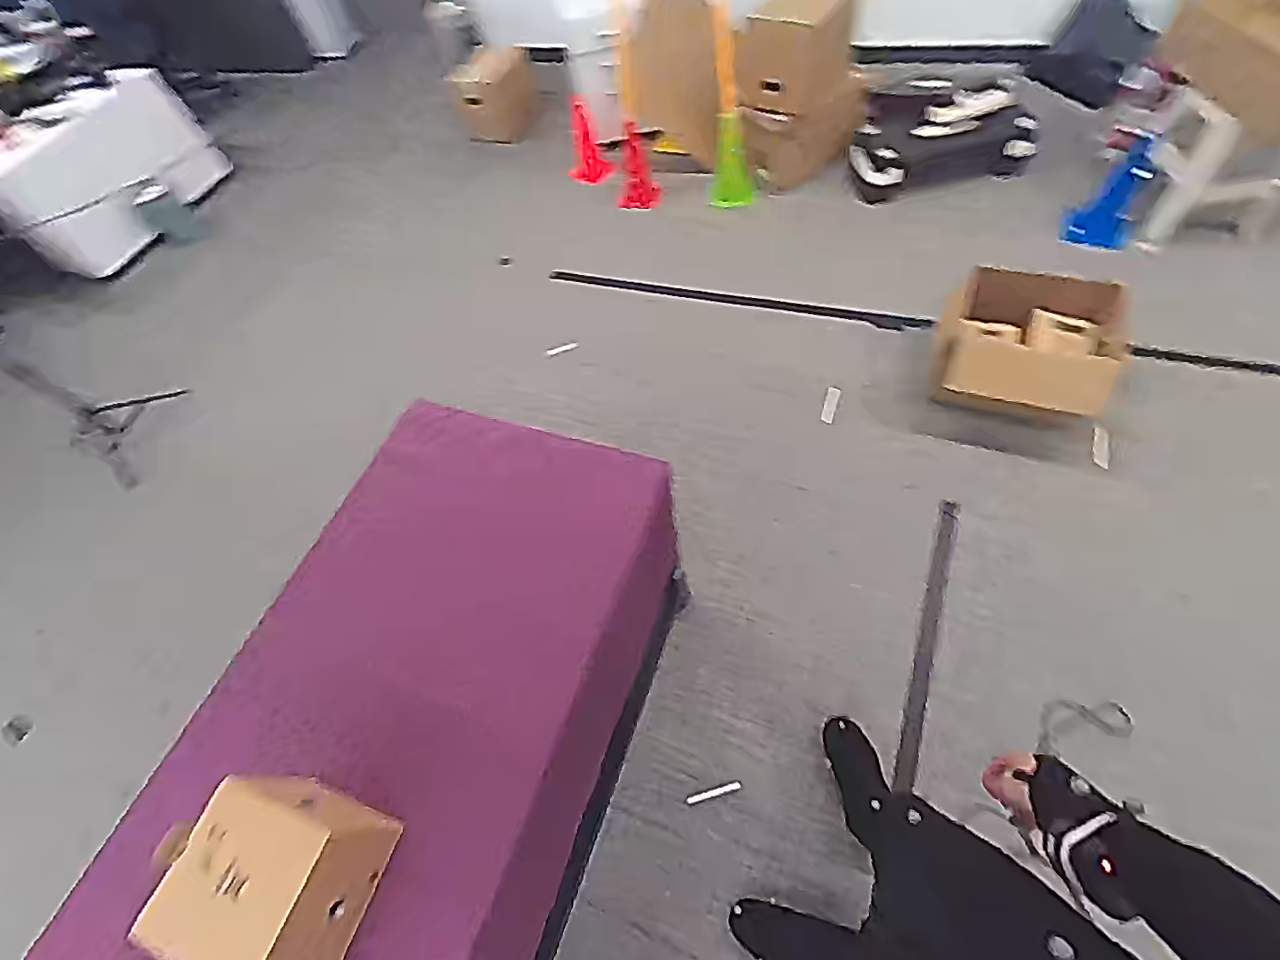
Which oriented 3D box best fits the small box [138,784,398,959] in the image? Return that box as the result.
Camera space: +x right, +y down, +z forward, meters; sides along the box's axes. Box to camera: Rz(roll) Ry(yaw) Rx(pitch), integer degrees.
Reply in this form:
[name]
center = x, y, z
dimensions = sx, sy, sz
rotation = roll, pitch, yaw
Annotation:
[small box]
center = -0.451, 0.506, 0.690
dimensions = 0.179, 0.176, 0.168
rotation = 12, 62, 17
